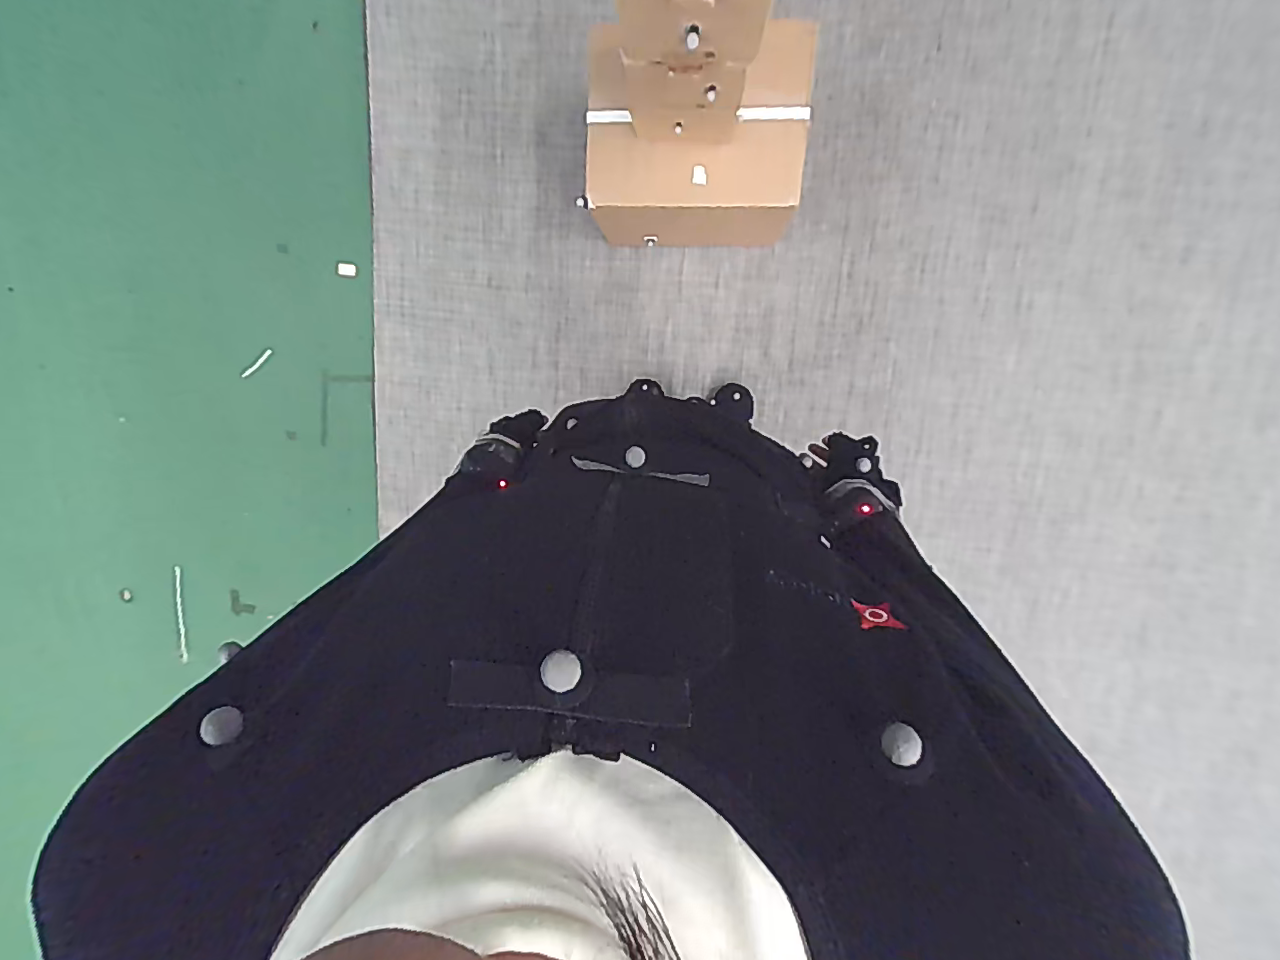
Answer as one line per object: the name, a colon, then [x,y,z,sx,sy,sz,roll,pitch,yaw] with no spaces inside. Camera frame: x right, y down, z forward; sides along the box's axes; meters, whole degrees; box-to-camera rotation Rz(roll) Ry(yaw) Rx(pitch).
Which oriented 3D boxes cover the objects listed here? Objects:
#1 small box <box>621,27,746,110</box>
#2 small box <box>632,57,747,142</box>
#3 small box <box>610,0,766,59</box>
small box: [0.068,-0.638,0.747,0.168,0.176,0.179,3,106,5]
small box: [0.084,-0.682,0.902,0.179,0.176,0.168,3,107,6]
small box: [0.061,-0.593,0.590,0.168,0.176,0.179,4,108,5]
